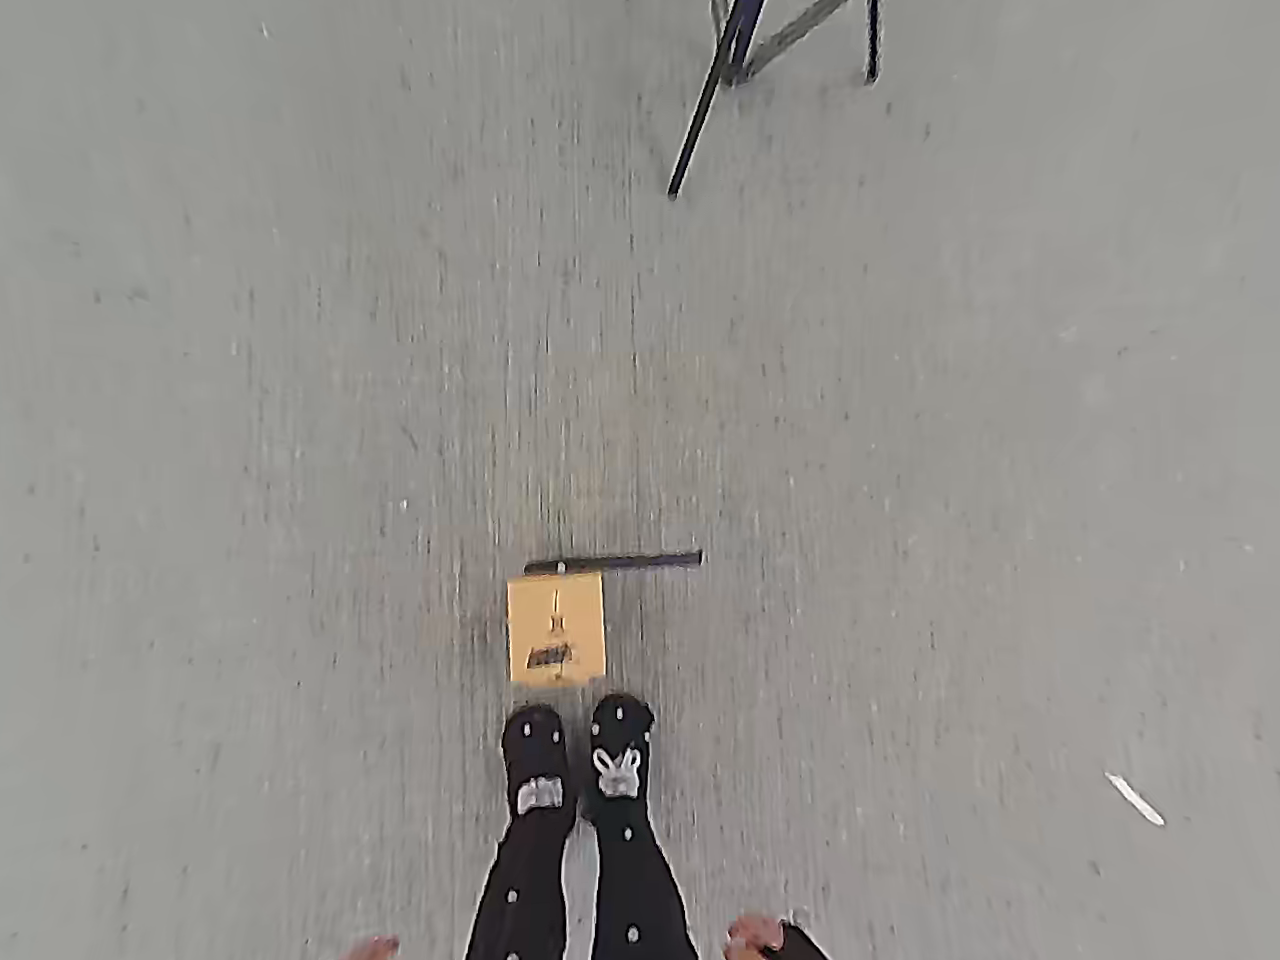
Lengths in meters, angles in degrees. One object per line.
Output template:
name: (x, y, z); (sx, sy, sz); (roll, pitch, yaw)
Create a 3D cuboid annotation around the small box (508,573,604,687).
small box: (-0.153, 0.274, 1.022); (0.168, 0.176, 0.179); (-3, 84, -6)
